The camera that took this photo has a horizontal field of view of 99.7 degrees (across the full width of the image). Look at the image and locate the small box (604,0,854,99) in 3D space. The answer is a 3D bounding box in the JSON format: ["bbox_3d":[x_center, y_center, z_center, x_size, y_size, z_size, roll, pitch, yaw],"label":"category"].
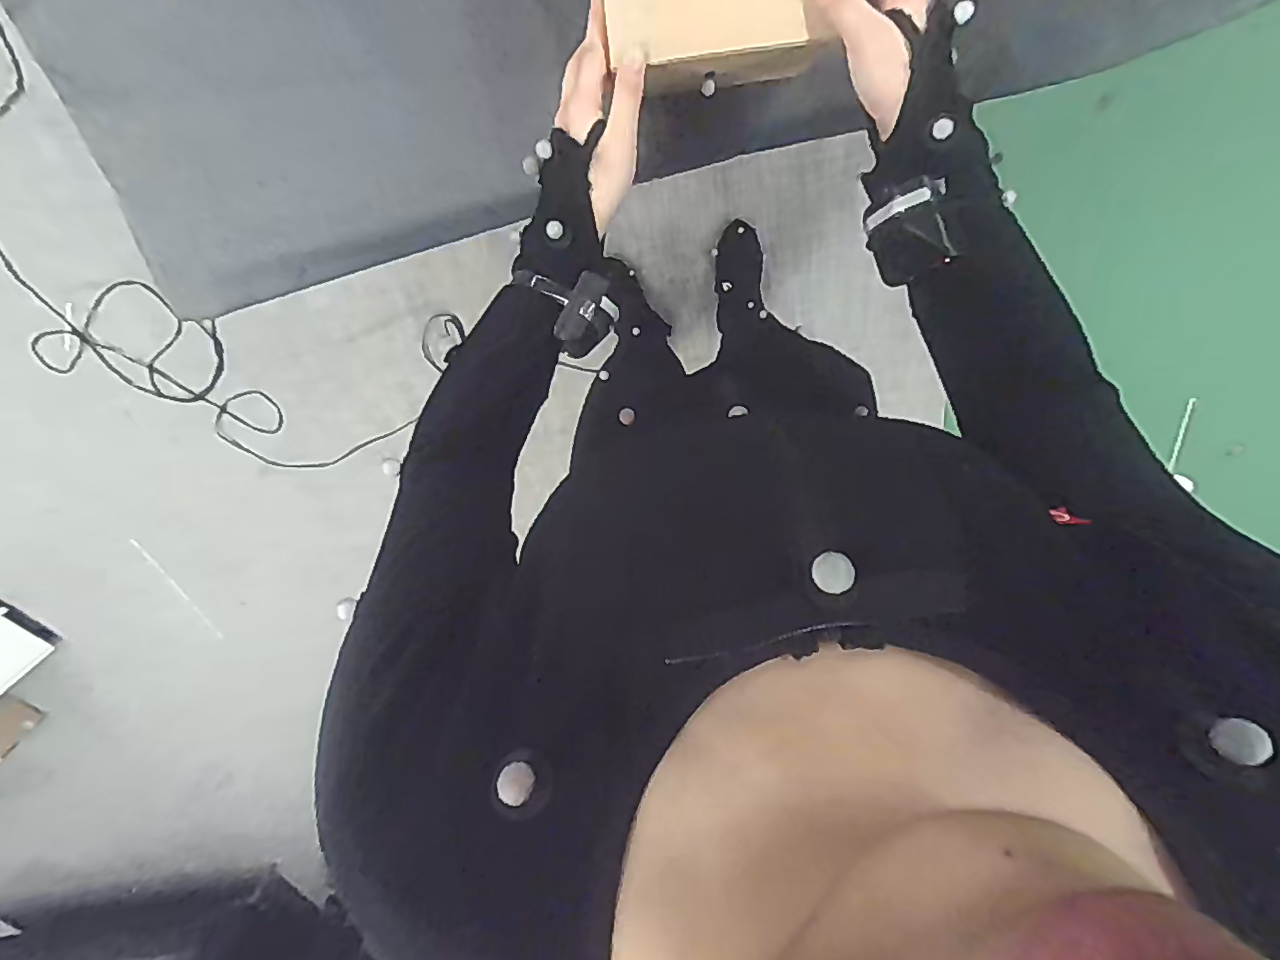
[{"bbox_3d":[0.058,-0.413,0.422,0.179,0.176,0.168,-5,119,4],"label":"small box"}]
